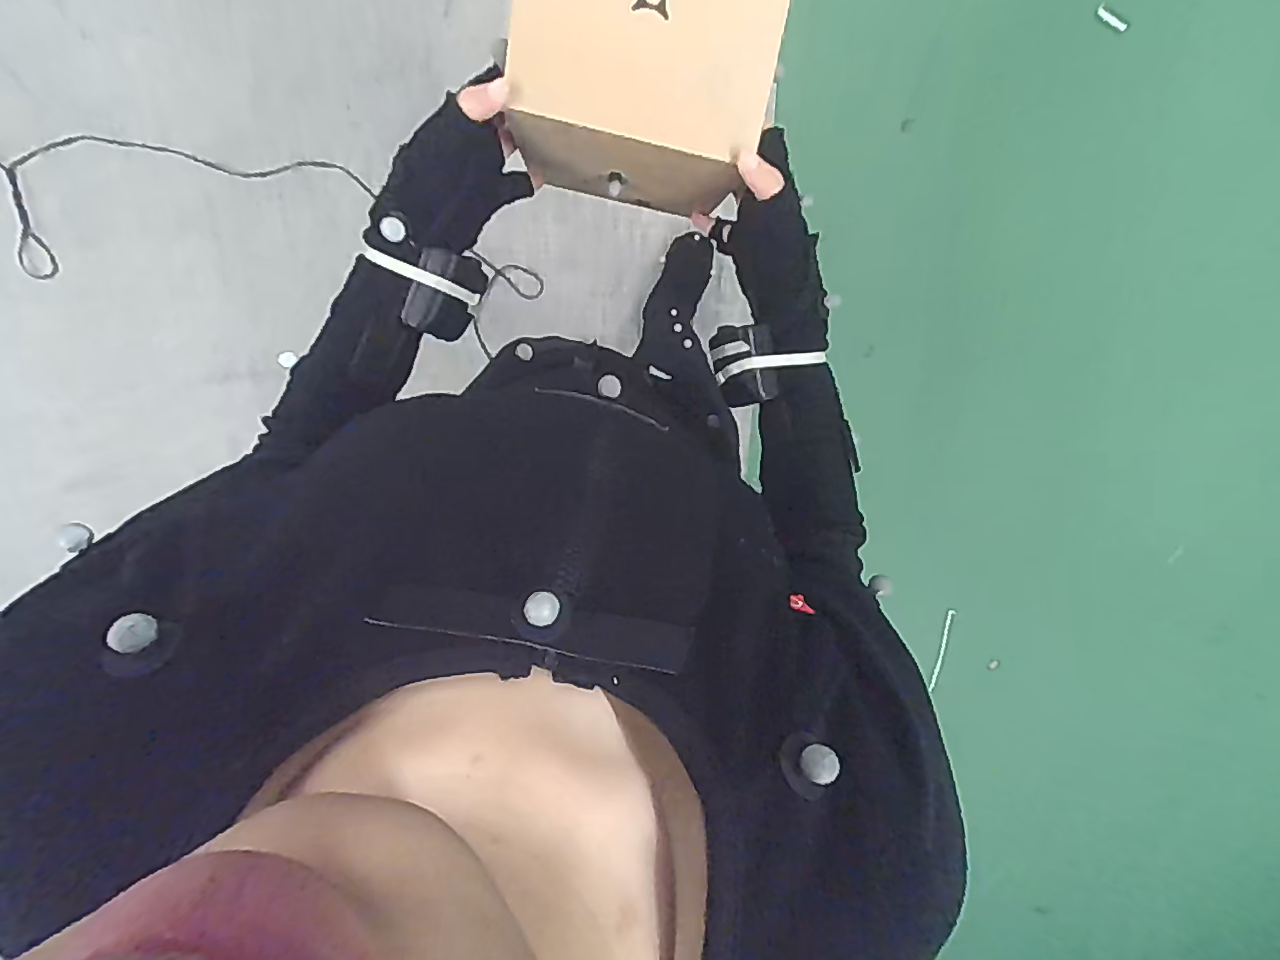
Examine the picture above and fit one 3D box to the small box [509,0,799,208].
[{"bbox_3d":[0.010,-0.321,0.394,0.168,0.176,0.179,10,103,-8],"label":"small box"}]
